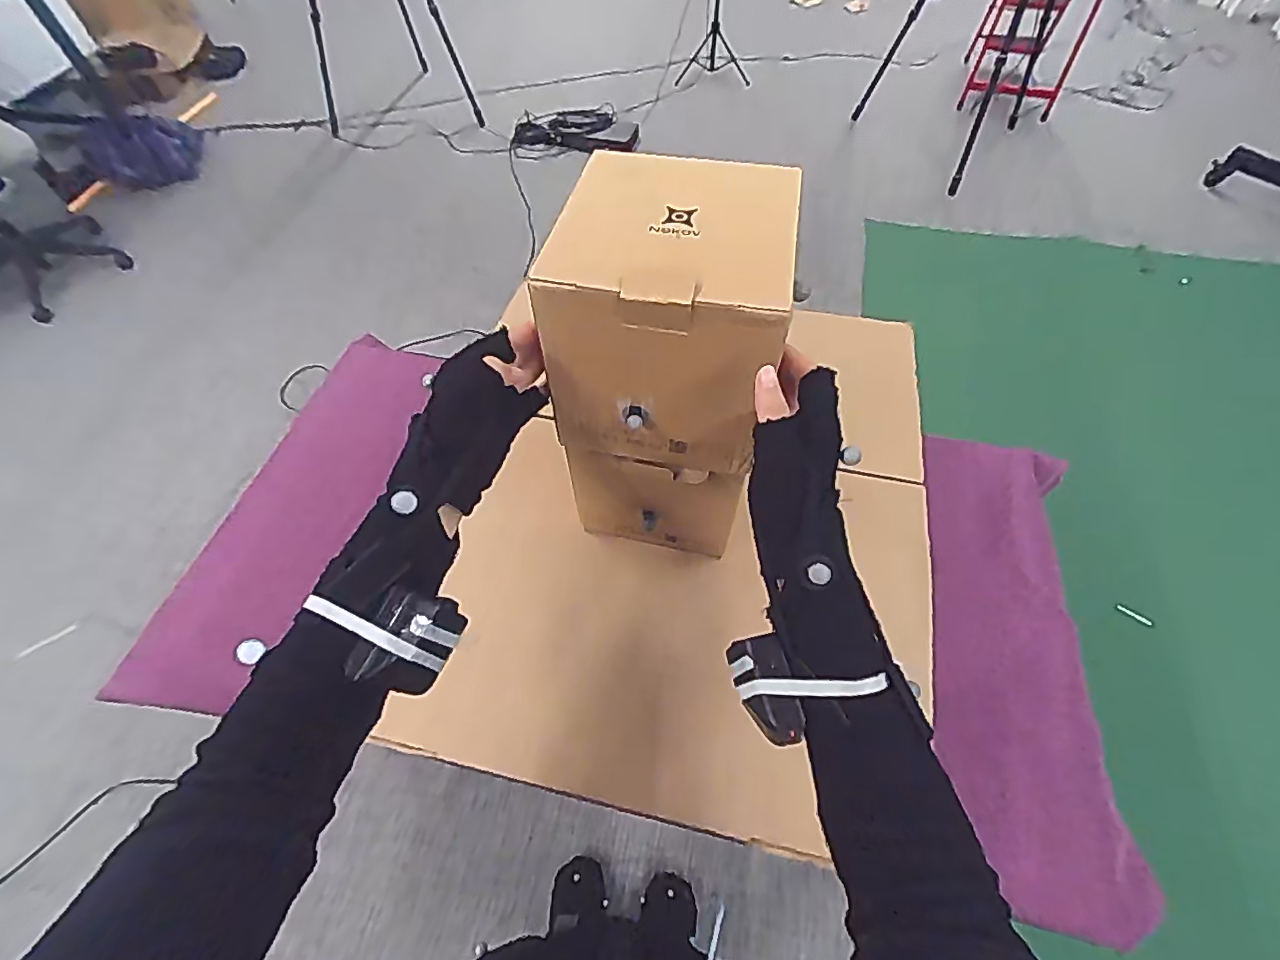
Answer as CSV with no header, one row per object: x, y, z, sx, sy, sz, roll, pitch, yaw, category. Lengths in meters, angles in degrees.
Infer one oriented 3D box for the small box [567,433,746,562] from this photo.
0.032,-0.038,0.584,0.168,0.176,0.179,11,56,9,small box

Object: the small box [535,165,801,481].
0.028,-0.125,0.446,0.168,0.176,0.179,9,56,7,small box
